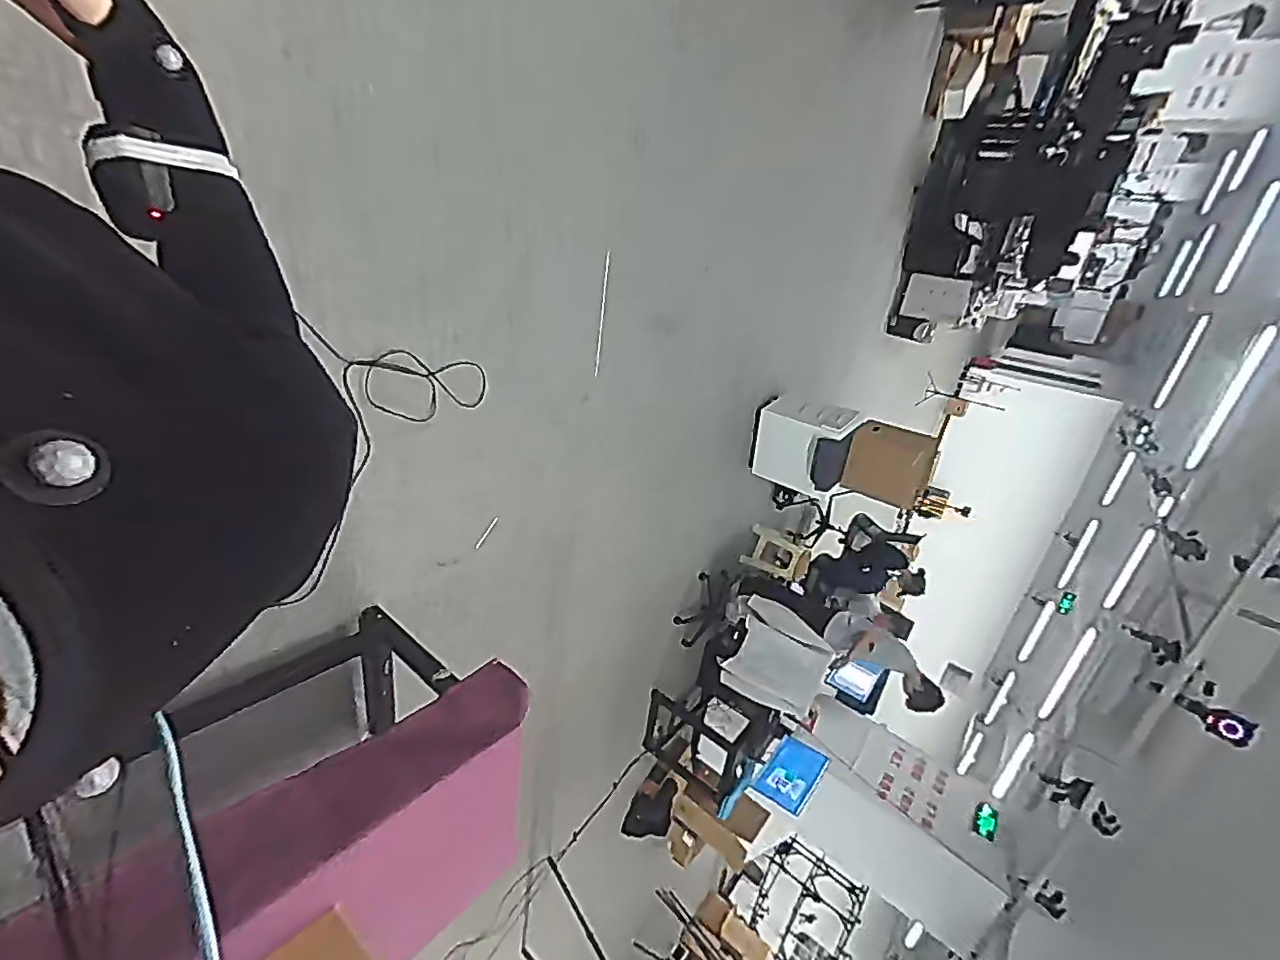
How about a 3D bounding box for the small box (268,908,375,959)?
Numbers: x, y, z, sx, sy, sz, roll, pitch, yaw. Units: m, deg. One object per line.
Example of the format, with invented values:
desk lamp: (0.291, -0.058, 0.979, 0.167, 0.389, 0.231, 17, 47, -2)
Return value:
small box: (-0.634, 1.012, 1.066, 0.179, 0.176, 0.168, -19, 125, -48)
